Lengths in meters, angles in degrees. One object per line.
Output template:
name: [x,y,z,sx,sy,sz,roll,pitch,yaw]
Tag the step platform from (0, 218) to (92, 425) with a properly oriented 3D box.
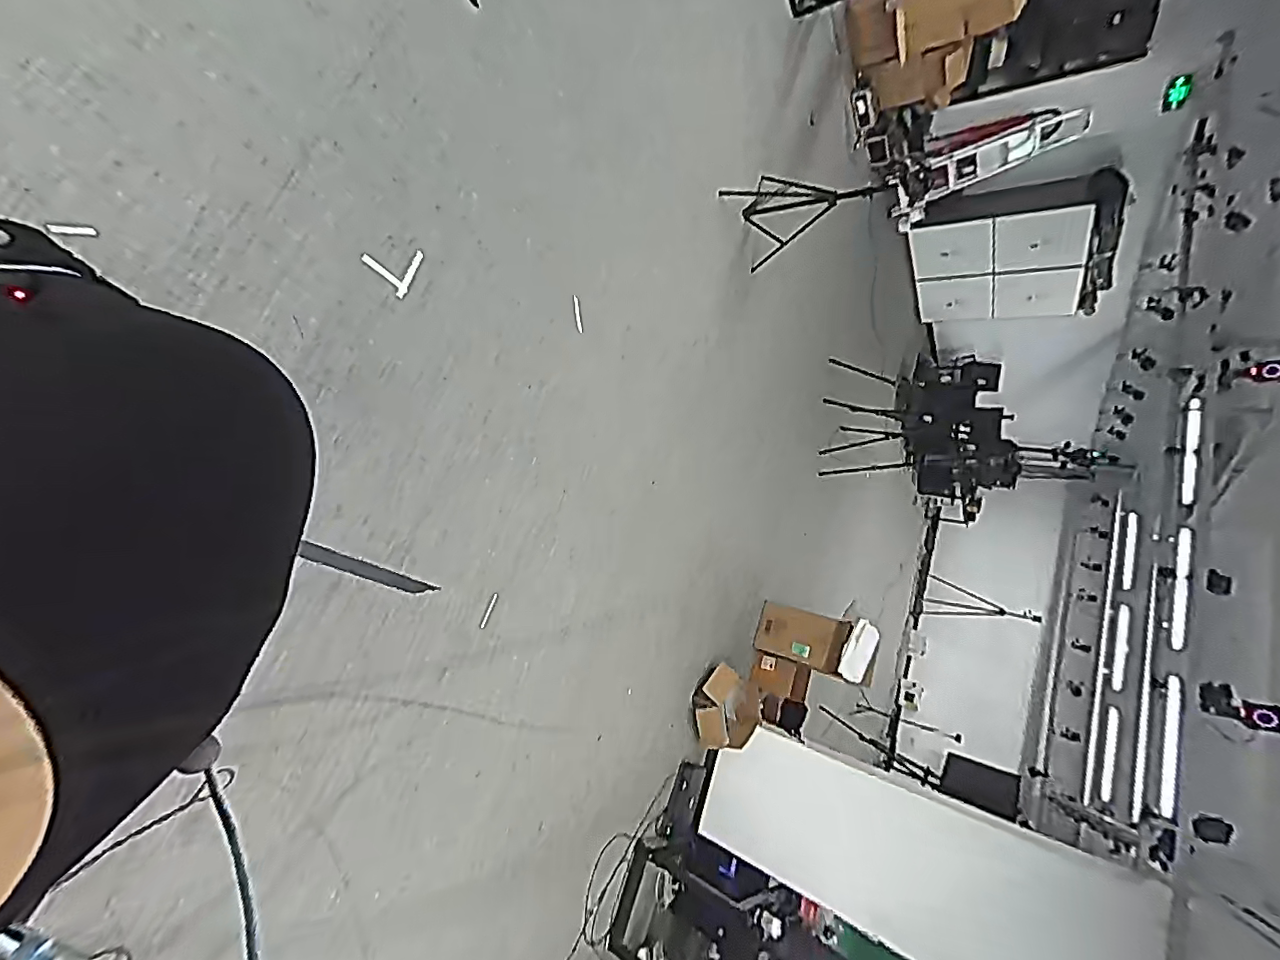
step platform: [-1.310,-0.171,0.935,0.286,0.204,0.684,37,66,-51]
